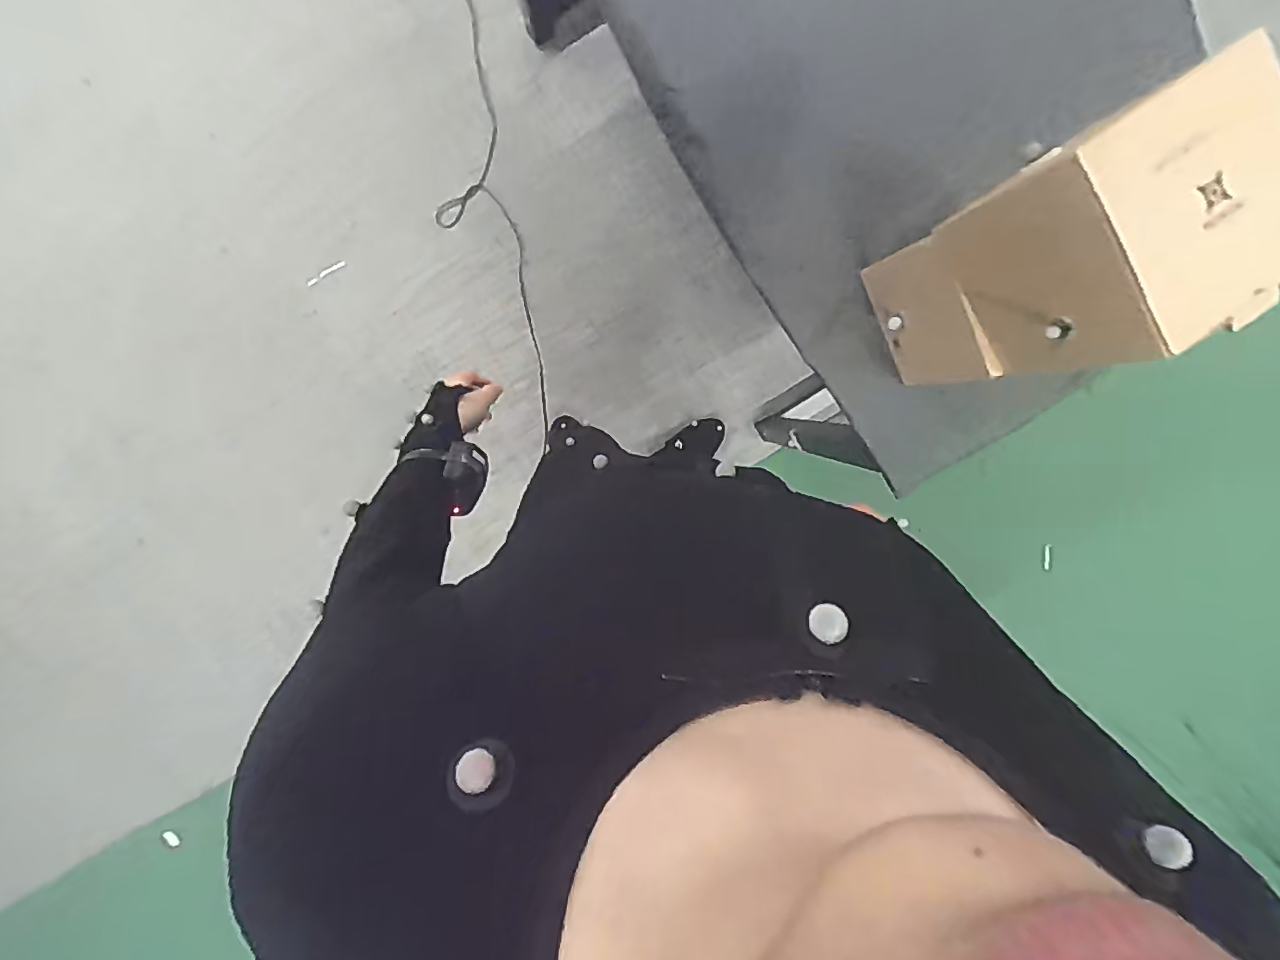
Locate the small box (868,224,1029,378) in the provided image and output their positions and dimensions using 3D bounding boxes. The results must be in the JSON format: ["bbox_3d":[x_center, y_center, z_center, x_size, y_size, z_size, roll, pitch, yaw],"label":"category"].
[{"bbox_3d":[0.405,-0.230,0.628,0.179,0.176,0.168,-26,97,0],"label":"small box"}]

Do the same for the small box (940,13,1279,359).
[{"bbox_3d":[0.409,-0.220,0.466,0.168,0.176,0.179,-34,96,-1],"label":"small box"}]
